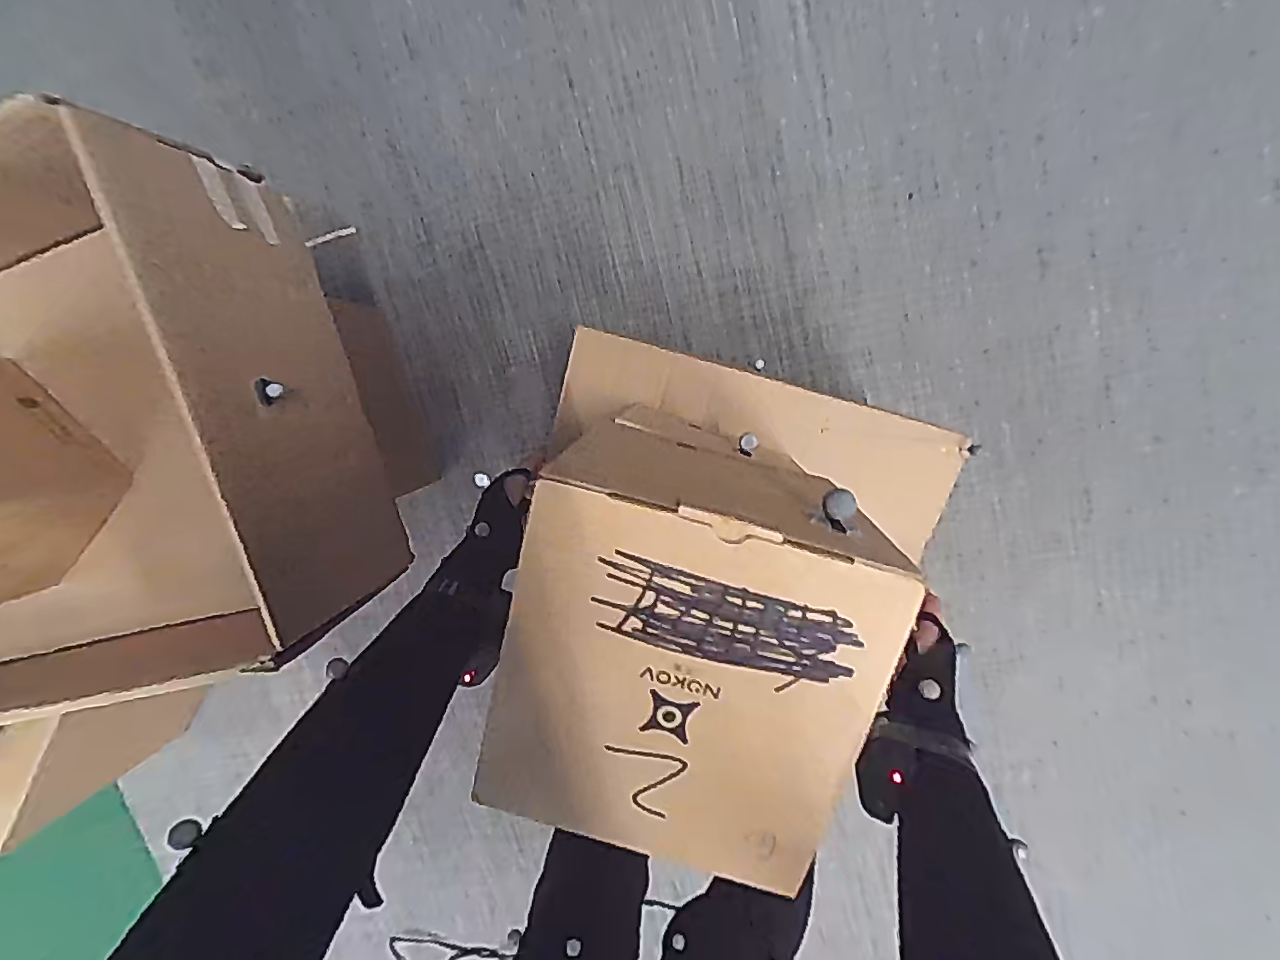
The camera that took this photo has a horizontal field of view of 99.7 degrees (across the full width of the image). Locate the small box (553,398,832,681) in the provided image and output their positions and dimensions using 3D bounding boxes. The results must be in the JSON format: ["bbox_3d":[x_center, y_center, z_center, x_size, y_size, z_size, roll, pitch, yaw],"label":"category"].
[{"bbox_3d":[0.041,0.035,0.482,0.168,0.176,0.179,20,104,1],"label":"small box"}]

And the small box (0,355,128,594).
[{"bbox_3d":[-0.616,0.007,0.468,0.179,0.176,0.168,-44,94,14],"label":"small box"}]
